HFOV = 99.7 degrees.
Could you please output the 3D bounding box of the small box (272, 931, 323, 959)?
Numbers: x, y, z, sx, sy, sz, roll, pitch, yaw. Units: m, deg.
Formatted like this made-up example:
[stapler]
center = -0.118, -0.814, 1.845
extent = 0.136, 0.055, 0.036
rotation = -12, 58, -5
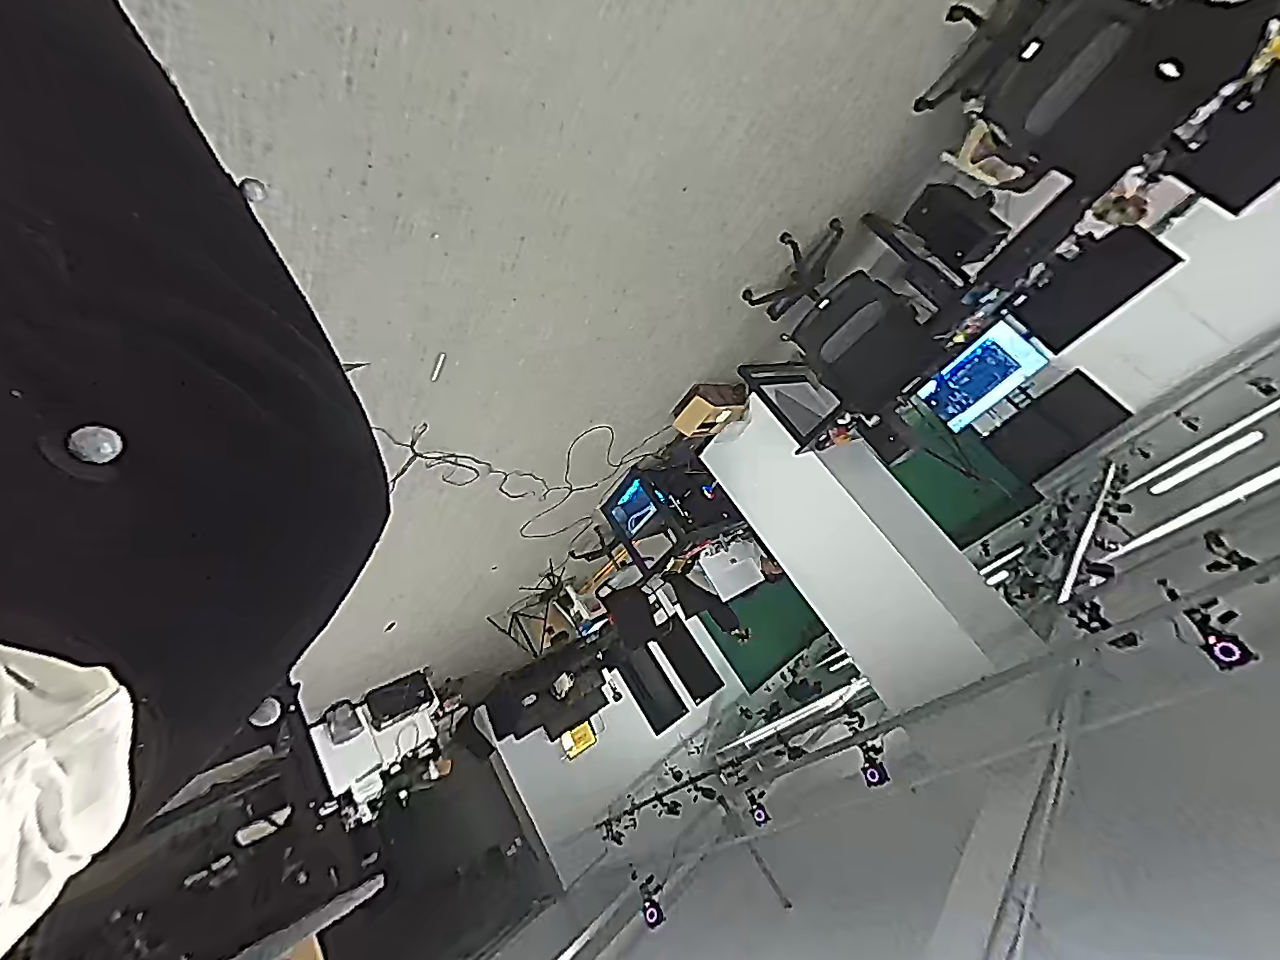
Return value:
[small box]
center = -1.185, 1.691, 1.837
extent = 0.179, 0.176, 0.168
rotation = -14, 152, -43
